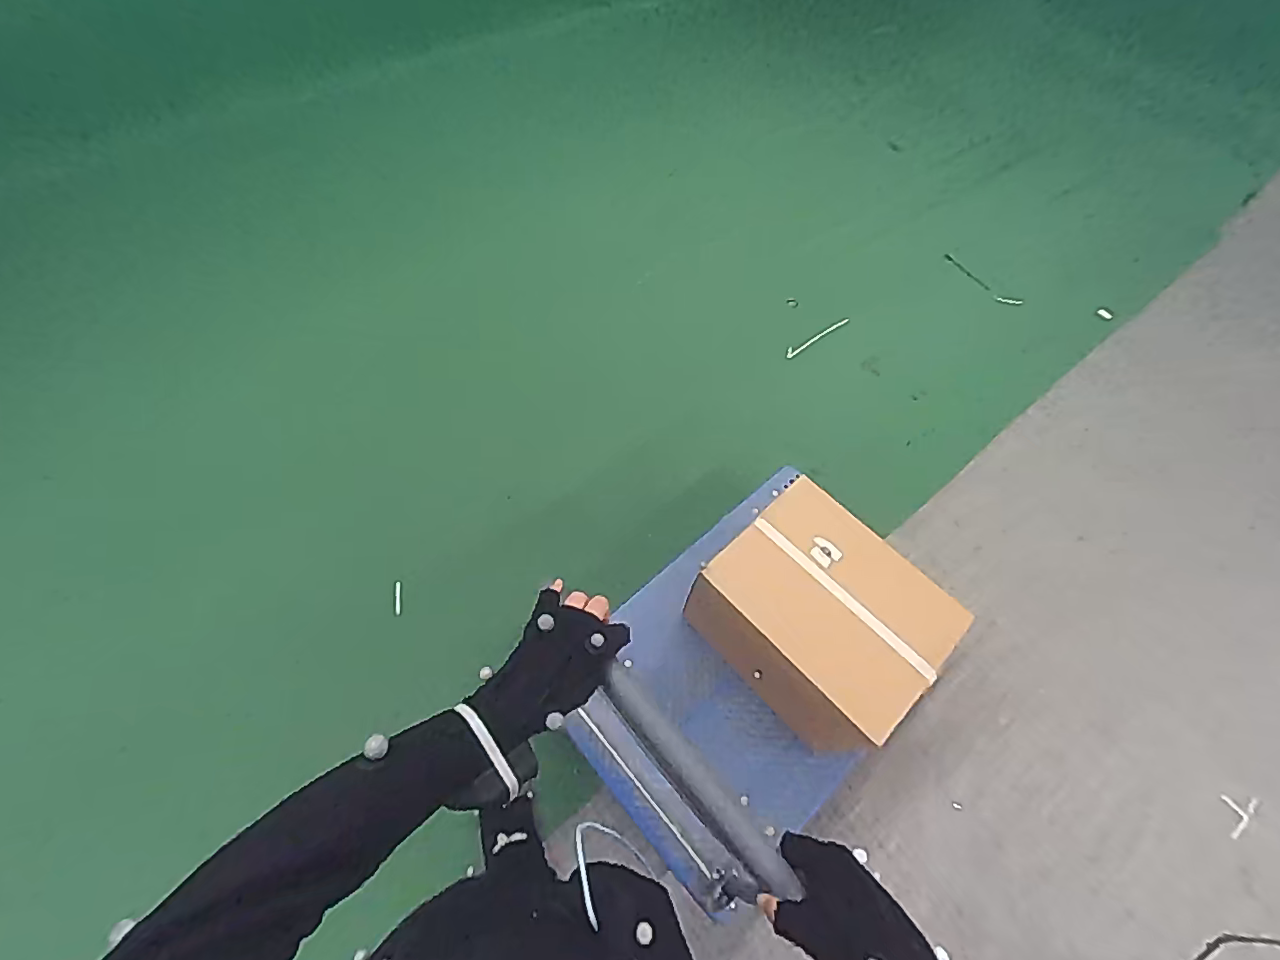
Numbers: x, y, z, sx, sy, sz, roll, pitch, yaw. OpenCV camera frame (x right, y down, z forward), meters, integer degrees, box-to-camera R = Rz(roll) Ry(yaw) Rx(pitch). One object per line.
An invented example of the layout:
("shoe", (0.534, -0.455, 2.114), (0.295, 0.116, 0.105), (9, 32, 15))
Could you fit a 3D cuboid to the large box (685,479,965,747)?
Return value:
("large box", (0.351, 0.283, 1.131), (0.320, 0.320, 0.408), (-39, 69, -22))
